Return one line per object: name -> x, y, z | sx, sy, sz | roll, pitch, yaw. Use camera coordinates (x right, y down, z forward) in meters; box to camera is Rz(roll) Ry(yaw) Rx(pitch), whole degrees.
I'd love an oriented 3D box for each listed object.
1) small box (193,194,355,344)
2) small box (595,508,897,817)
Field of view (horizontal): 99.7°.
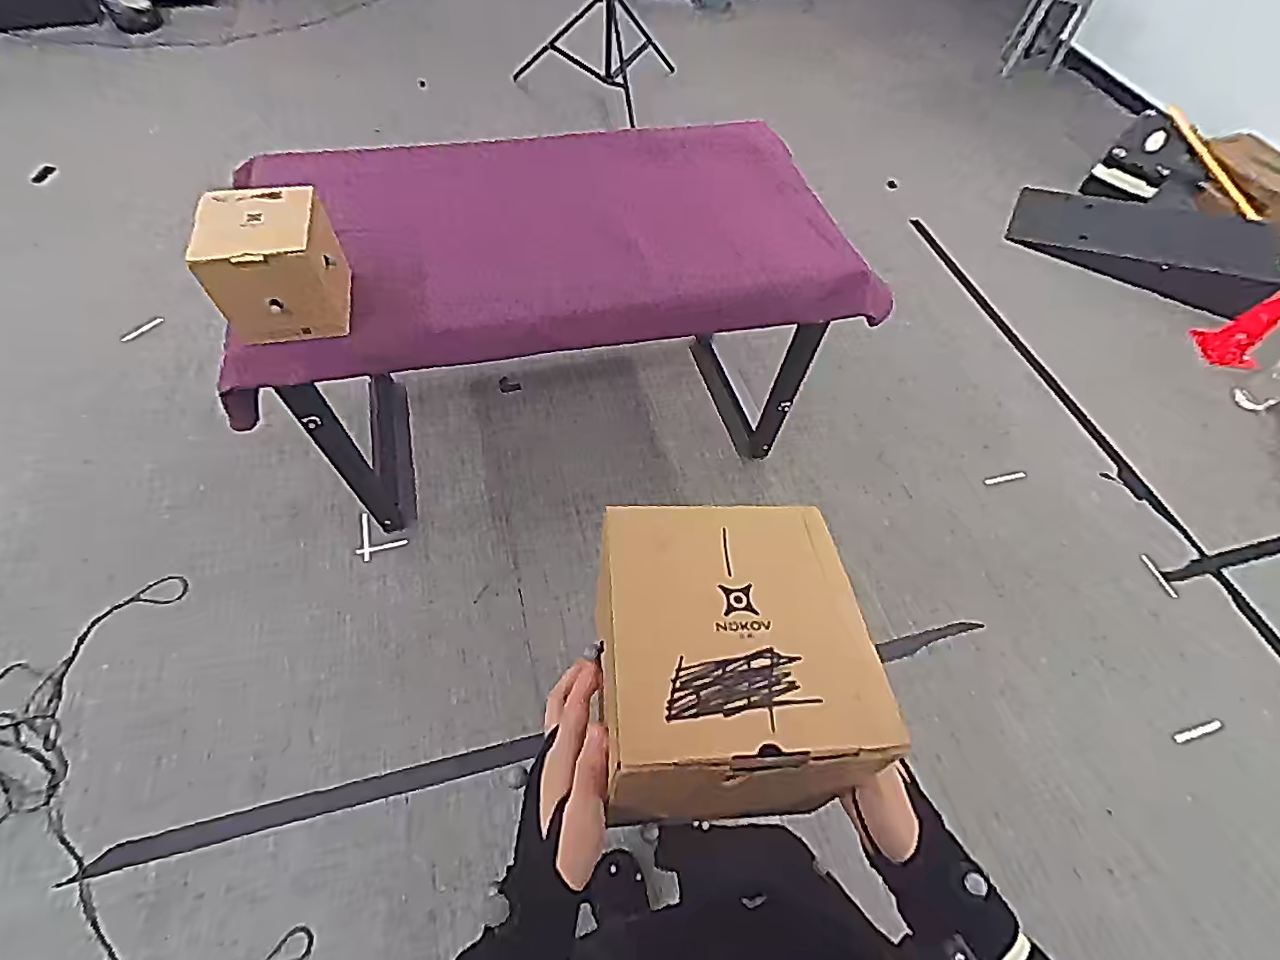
small box -> -0.595, -0.345, 0.906 | 0.168, 0.176, 0.179 | -9, 60, -11
small box -> 0.053, 0.140, 0.409 | 0.168, 0.176, 0.179 | 1, 47, -8
